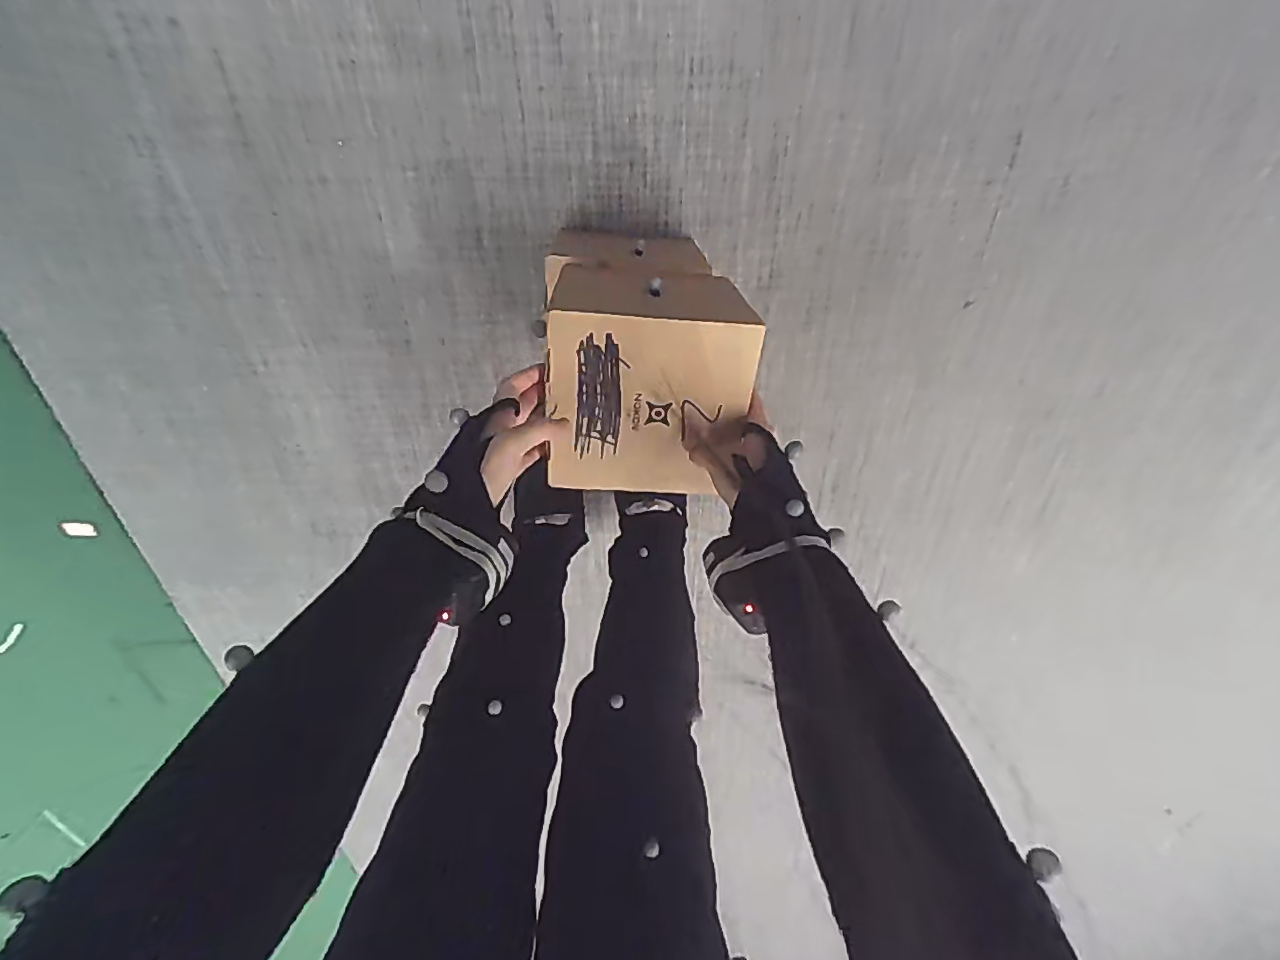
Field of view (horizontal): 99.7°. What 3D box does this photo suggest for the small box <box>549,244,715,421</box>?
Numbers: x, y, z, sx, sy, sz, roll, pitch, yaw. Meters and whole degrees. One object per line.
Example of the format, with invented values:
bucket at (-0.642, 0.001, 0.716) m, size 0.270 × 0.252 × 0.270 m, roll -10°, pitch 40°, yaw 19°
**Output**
small box at (-0.018, -0.187, 0.668) m, size 0.179 × 0.176 × 0.168 m, roll 3°, pitch 122°, yaw -4°
